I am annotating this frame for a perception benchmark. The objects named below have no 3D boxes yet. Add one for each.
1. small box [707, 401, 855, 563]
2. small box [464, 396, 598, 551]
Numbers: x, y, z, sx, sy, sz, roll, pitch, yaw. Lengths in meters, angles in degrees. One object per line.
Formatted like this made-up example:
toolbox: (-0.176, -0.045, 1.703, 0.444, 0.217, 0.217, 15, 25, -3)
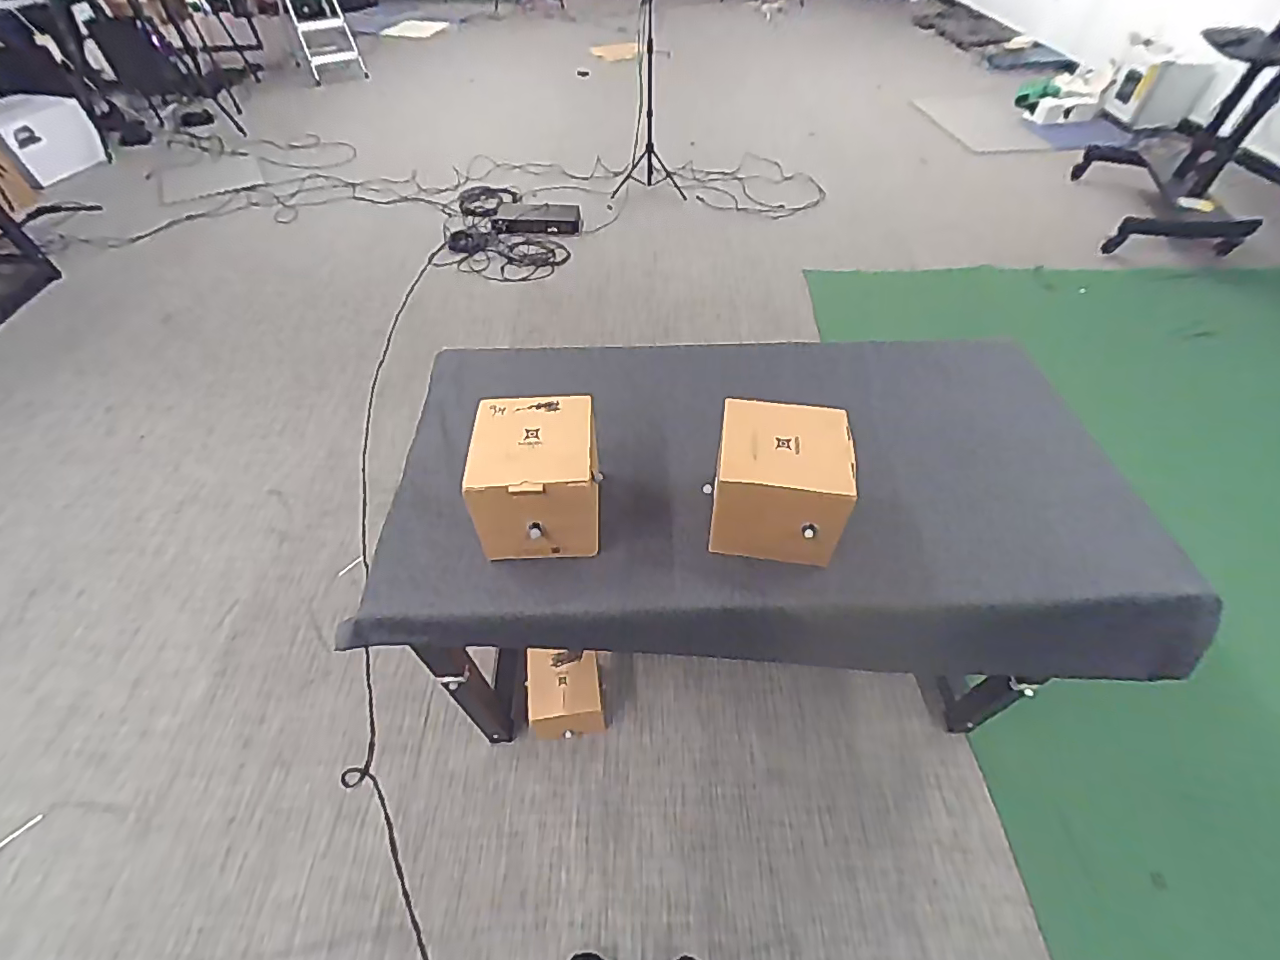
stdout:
small box: (0.199, 0.007, 0.802, 0.179, 0.176, 0.168, 6, 49, 6)
small box: (-0.148, -0.004, 0.806, 0.168, 0.176, 0.179, -2, 49, -2)
